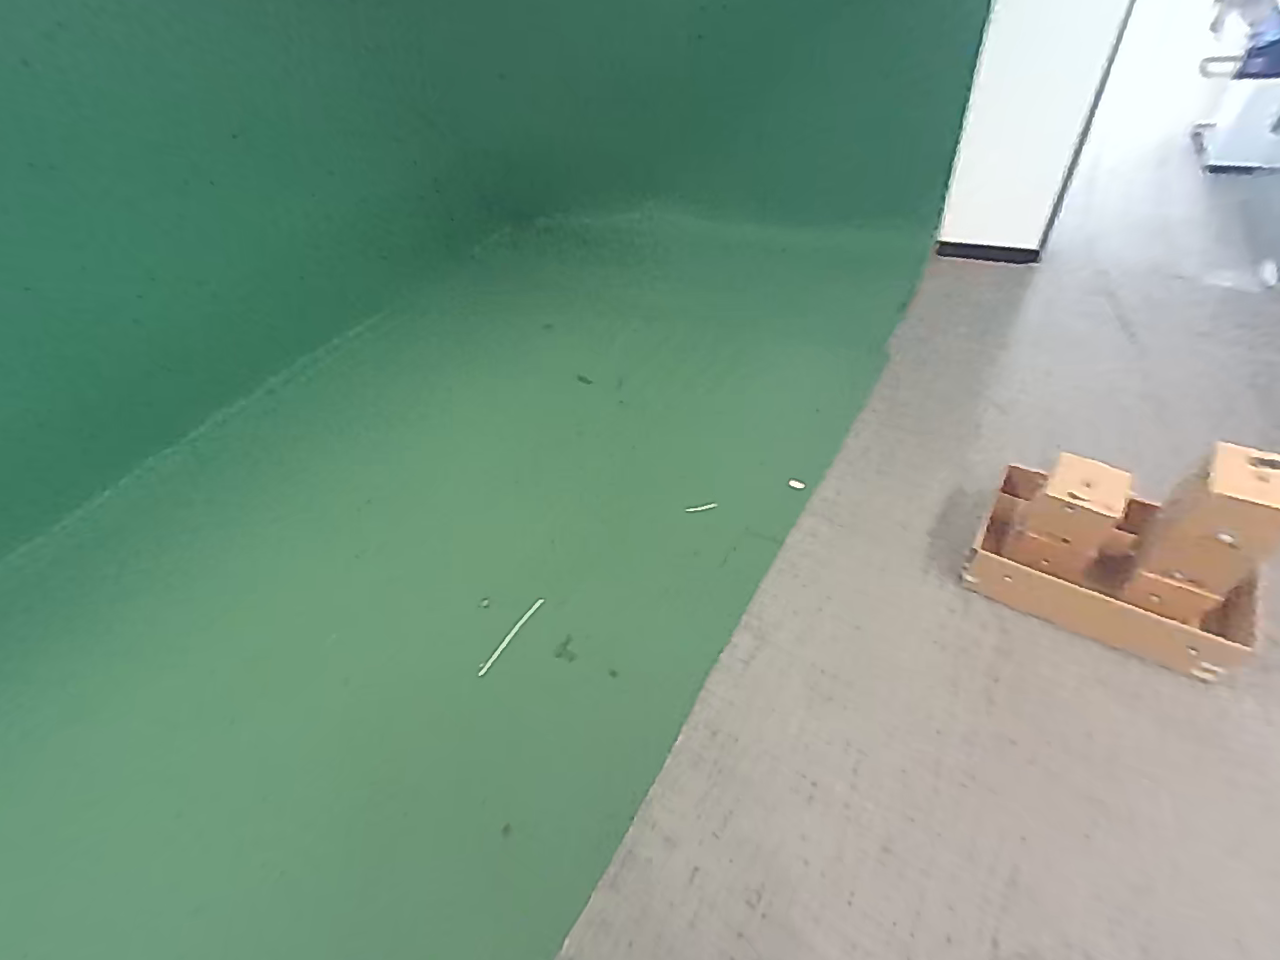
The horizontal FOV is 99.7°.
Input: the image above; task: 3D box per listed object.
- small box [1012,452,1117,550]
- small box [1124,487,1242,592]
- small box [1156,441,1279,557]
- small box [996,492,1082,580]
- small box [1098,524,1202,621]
[{"bbox_3d":[1.174,0.060,1.505,0.168,0.176,0.179,26,58,30],"label":"small box"},{"bbox_3d":[1.389,0.150,1.385,0.168,0.176,0.179,23,57,30],"label":"small box"},{"bbox_3d":[1.357,0.044,1.264,0.168,0.176,0.179,22,57,30],"label":"small box"},{"bbox_3d":[1.201,0.170,1.624,0.168,0.176,0.179,22,57,26],"label":"small box"},{"bbox_3d":[1.415,0.261,1.502,0.168,0.176,0.179,21,57,28],"label":"small box"}]
